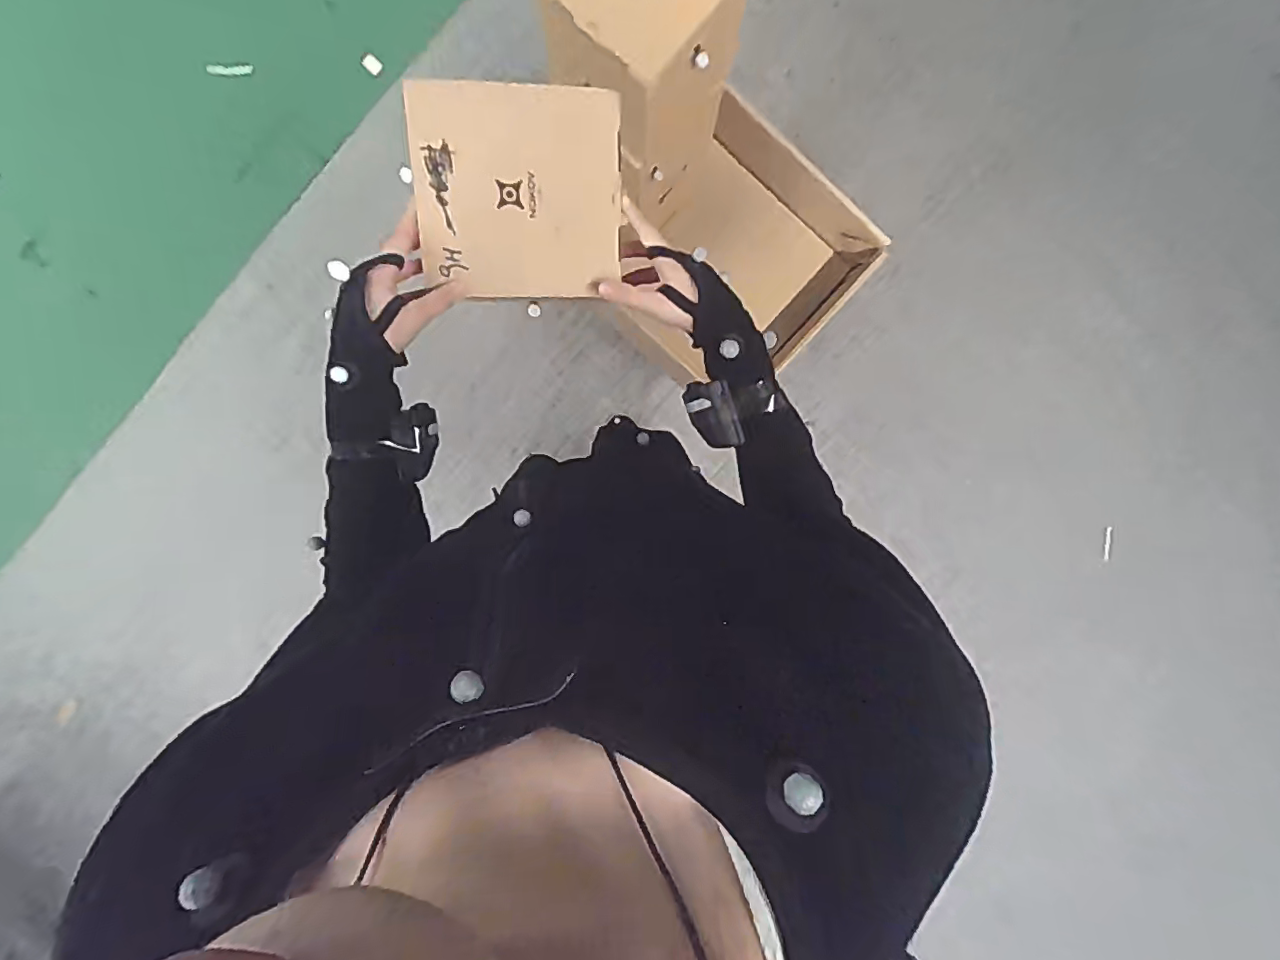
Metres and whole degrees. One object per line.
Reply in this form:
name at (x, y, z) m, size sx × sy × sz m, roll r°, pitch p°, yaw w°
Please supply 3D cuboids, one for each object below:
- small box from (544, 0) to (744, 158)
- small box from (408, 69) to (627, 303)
small box at (0.004, -0.535, 0.634) m, size 0.168 × 0.176 × 0.179 m, roll 41°, pitch 94°, yaw -3°
small box at (-0.111, -0.267, 0.533) m, size 0.179 × 0.176 × 0.168 m, roll -2°, pitch 106°, yaw -8°
